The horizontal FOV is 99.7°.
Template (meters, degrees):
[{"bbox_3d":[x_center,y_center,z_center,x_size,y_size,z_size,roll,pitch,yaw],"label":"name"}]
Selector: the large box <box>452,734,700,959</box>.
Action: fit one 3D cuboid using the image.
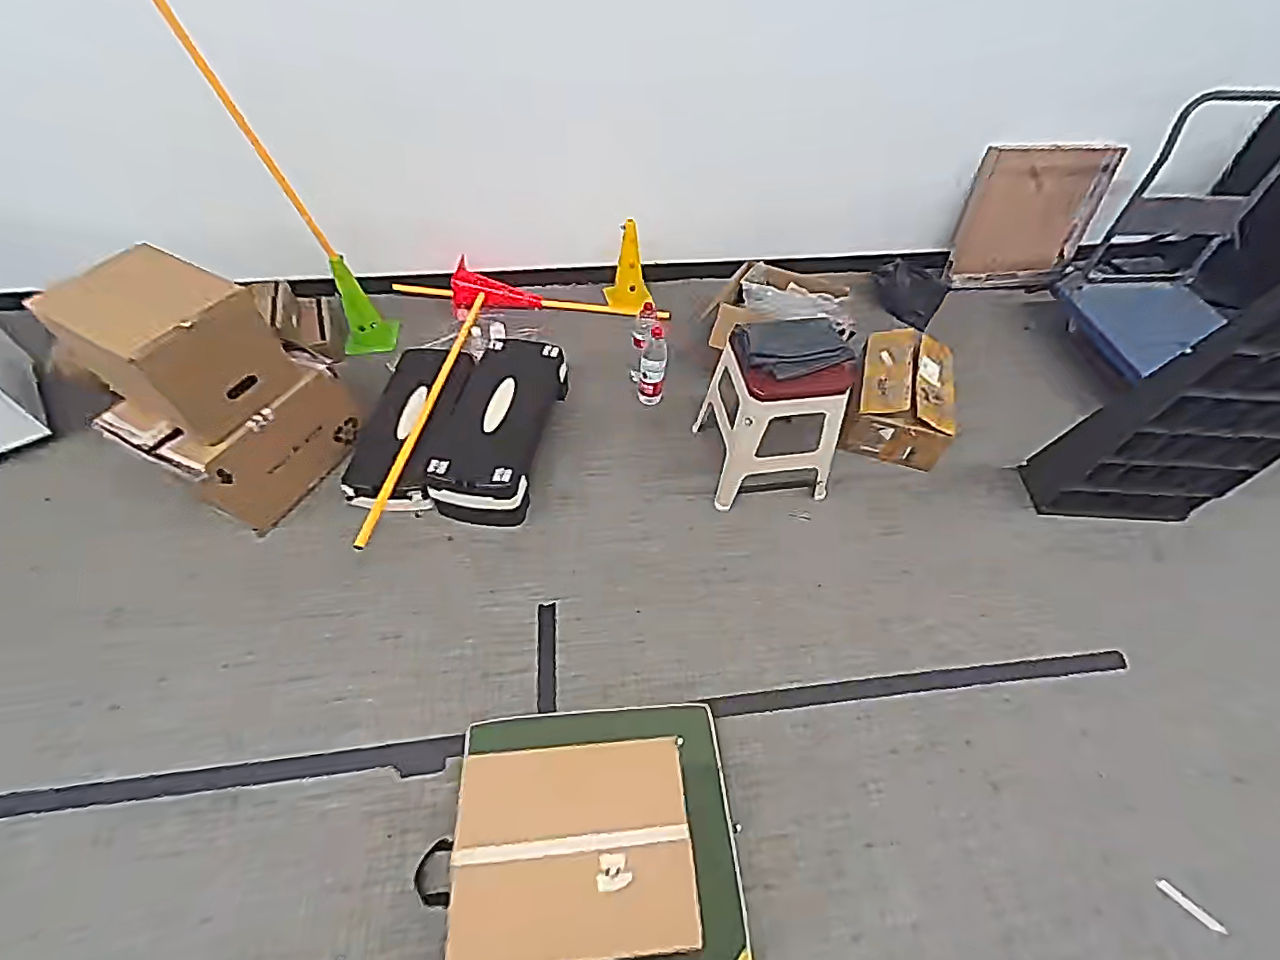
[{"bbox_3d":[-0.122,0.723,1.066,0.408,0.320,0.320,-2,53,-6],"label":"large box"}]
